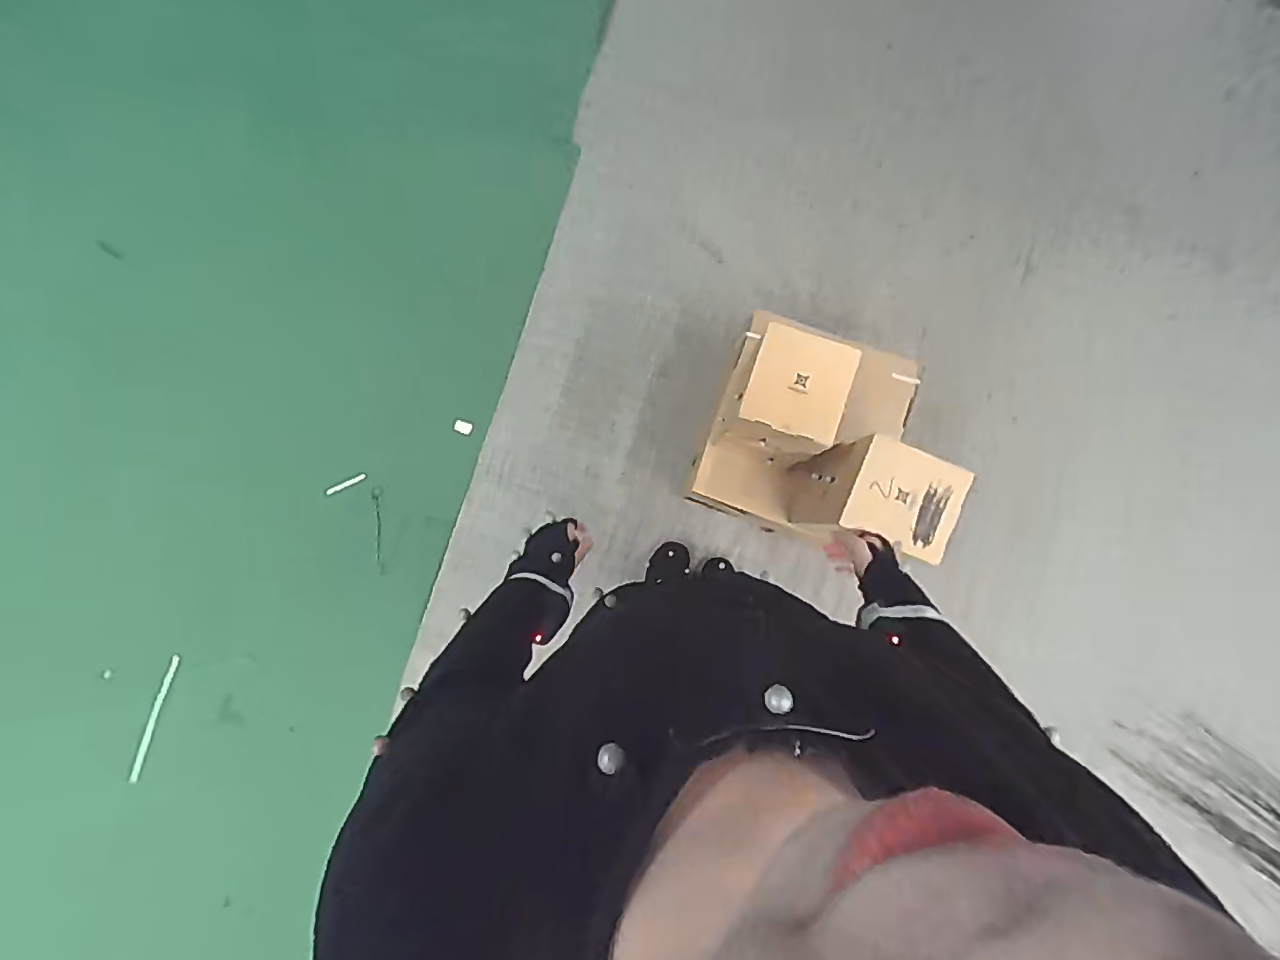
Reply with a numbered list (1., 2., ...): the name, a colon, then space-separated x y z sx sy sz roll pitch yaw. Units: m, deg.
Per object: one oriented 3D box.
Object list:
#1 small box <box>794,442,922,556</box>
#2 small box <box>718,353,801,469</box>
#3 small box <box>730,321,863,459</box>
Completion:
1. small box: 0.436 0.044 1.113 0.168 0.176 0.179 22 84 4
2. small box: 0.271 -0.135 1.139 0.168 0.176 0.179 21 84 4
3. small box: 0.271 -0.153 0.977 0.168 0.176 0.179 20 85 4
